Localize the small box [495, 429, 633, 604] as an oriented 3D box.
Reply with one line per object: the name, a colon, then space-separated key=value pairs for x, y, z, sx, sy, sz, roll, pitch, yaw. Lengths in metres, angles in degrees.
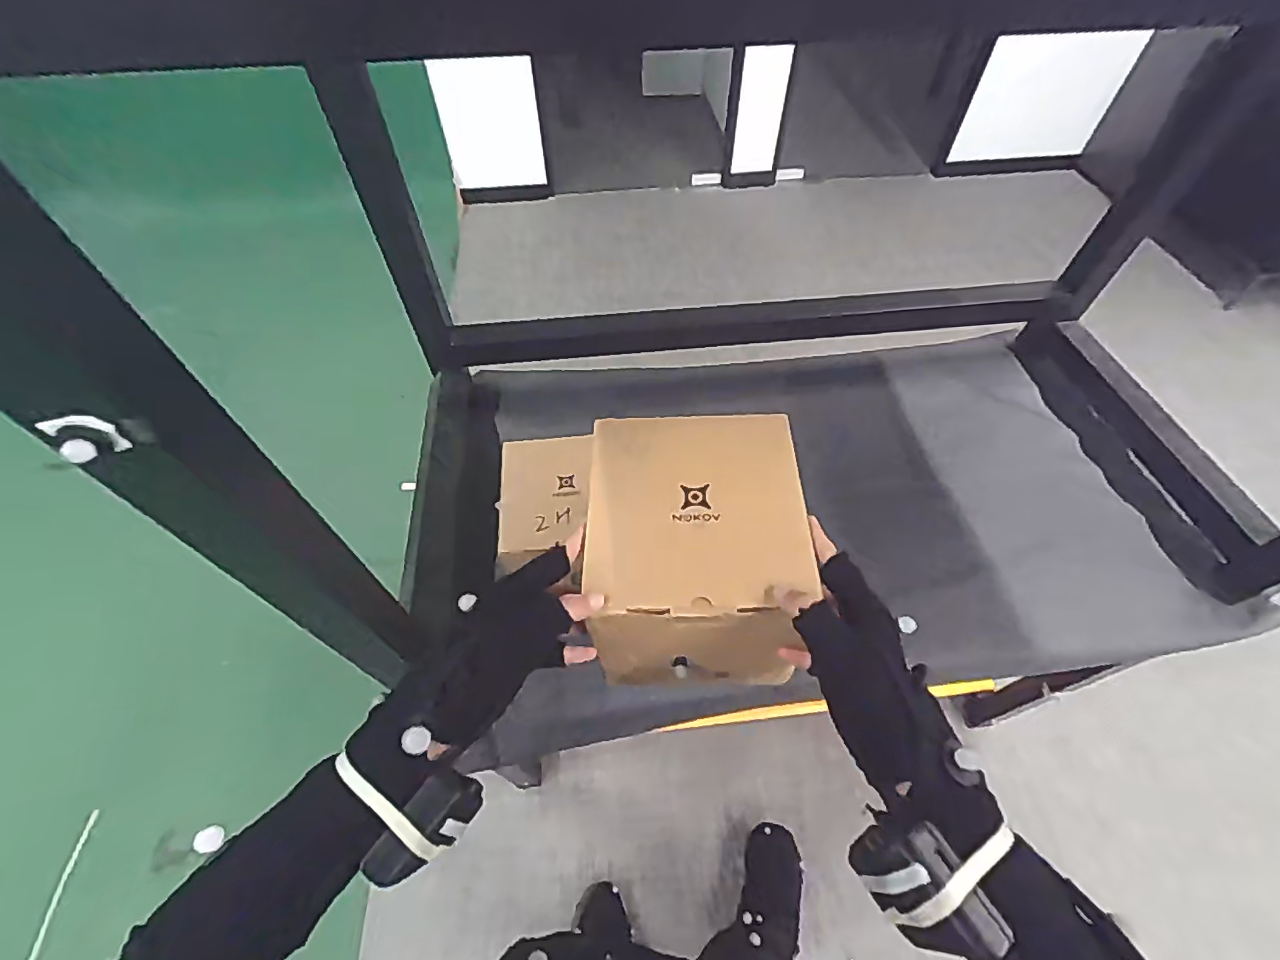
small box: x=-0.099 y=0.053 z=0.753 sx=0.168 sy=0.176 sz=0.179 roll=-6 pitch=54 yaw=-3
